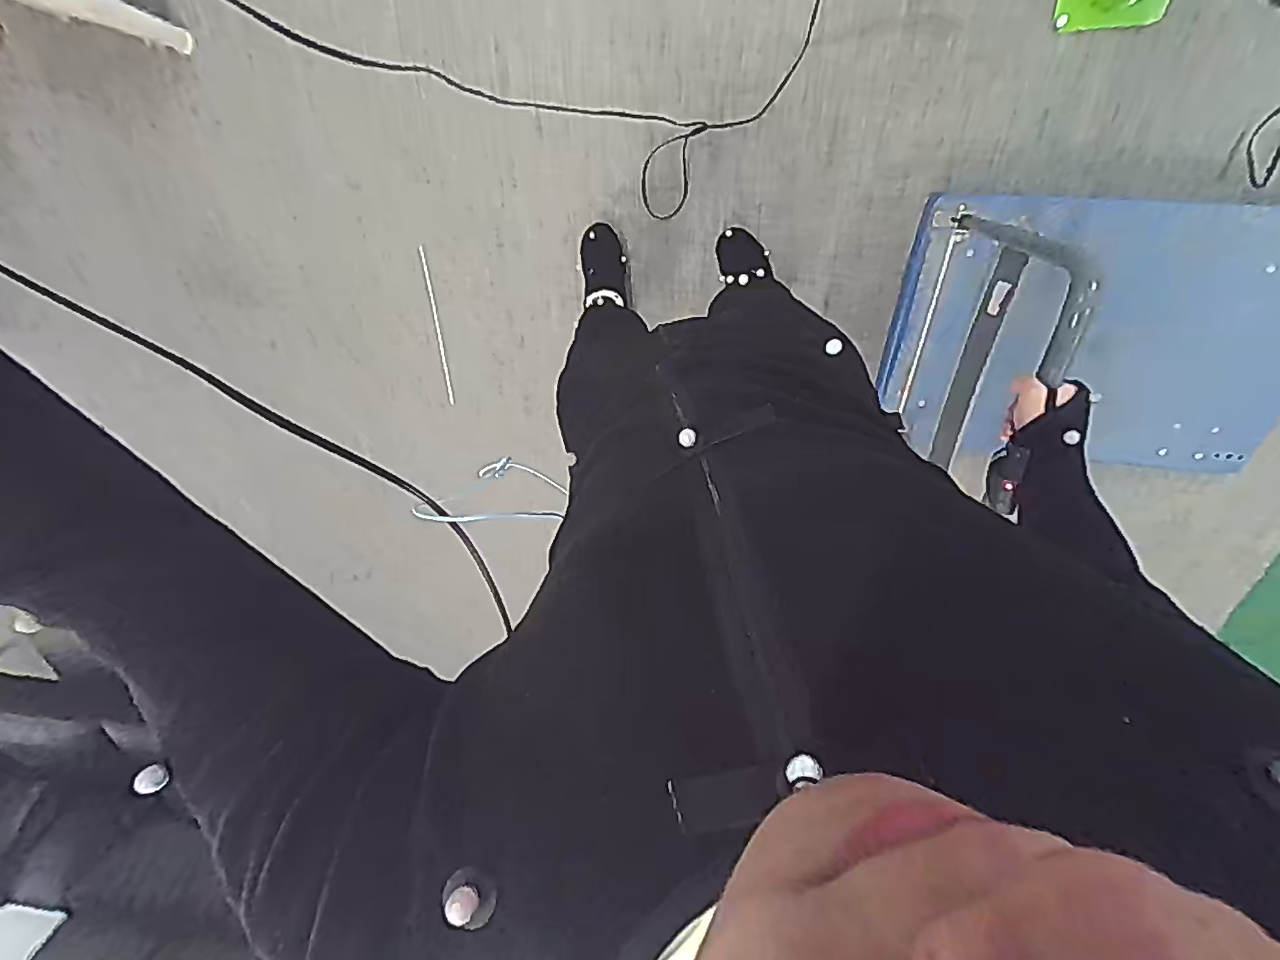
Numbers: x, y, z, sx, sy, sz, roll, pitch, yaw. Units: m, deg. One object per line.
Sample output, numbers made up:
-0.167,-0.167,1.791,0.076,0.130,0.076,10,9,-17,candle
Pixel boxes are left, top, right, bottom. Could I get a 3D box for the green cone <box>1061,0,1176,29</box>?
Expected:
0.898,-0.901,0.867,0.200,0.368,0.202,1,119,10,green cone
